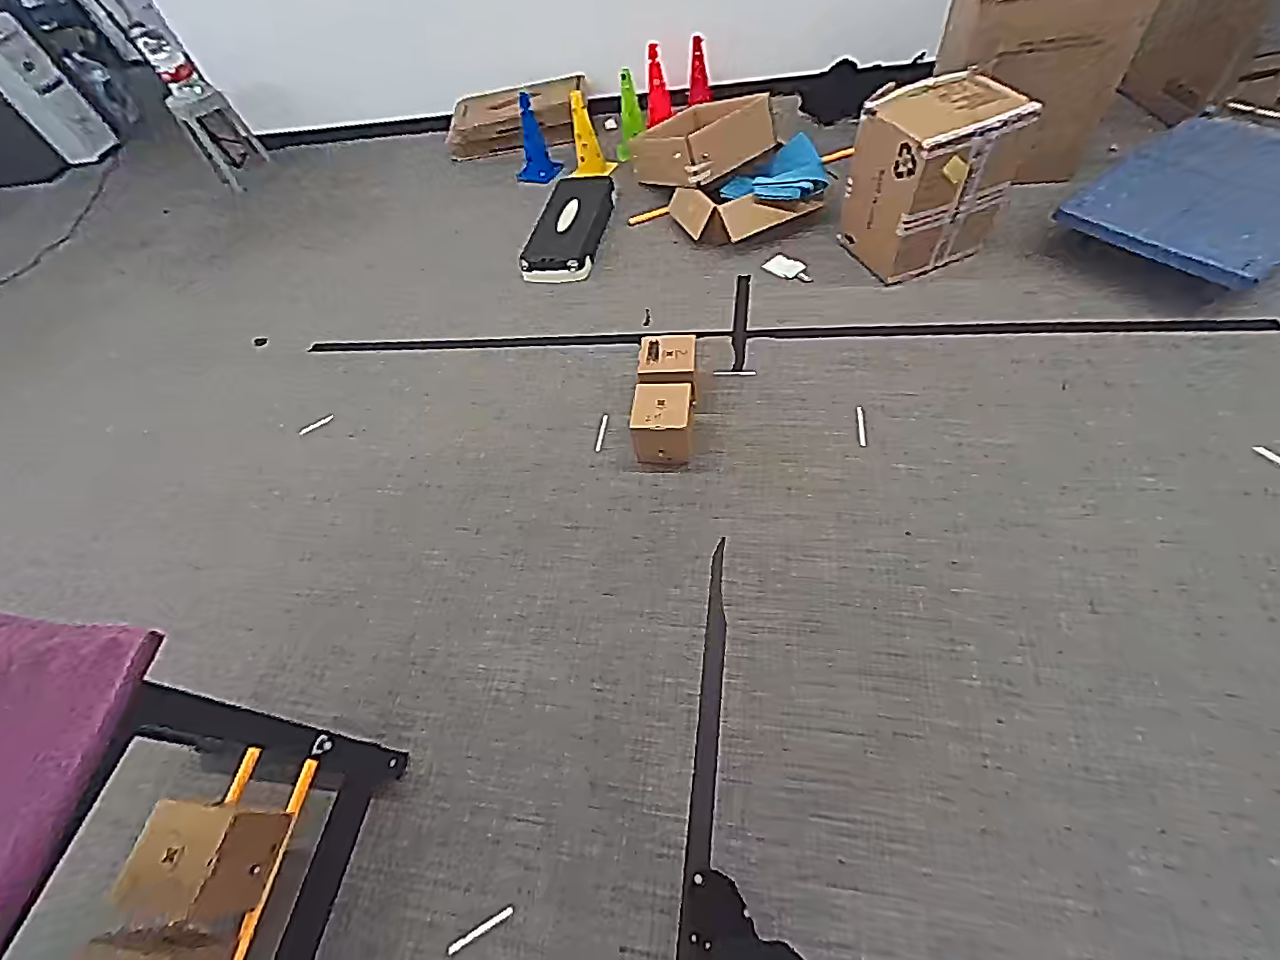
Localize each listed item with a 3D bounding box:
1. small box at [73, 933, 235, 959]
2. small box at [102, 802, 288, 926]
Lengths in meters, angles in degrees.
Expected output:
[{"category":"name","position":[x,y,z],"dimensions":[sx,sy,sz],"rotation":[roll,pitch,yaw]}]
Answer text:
[{"category":"small box","position":[-0.860,0.898,0.922],"dimensions":[0.179,0.176,0.168],"rotation":[2,57,9]},{"category":"small box","position":[-0.832,0.726,1.032],"dimensions":[0.179,0.176,0.168],"rotation":[2,57,9]}]
